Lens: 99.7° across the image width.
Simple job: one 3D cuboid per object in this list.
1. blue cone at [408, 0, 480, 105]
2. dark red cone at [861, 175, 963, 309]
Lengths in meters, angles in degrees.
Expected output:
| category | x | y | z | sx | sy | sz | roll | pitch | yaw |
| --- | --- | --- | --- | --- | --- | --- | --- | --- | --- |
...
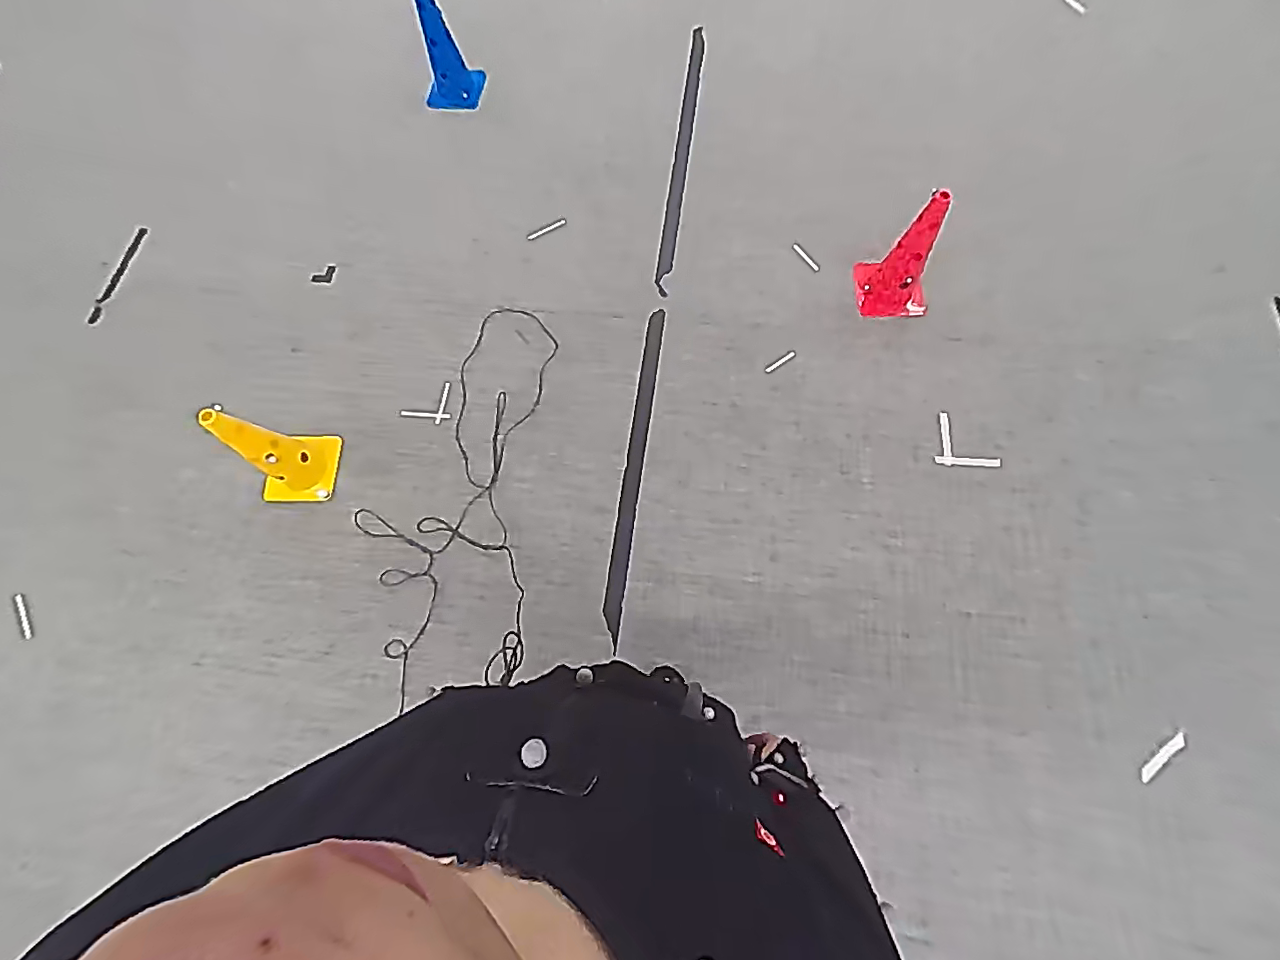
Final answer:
| category | x | y | z | sx | sy | sz | roll | pitch | yaw |
| --- | --- | --- | --- | --- | --- | --- | --- | --- | --- |
| blue cone | -0.710 | -1.529 | 1.869 | 0.192 | 0.380 | 0.193 | 7 | 72 | 6 |
| dark red cone | 0.763 | -0.653 | 1.468 | 0.201 | 0.394 | 0.202 | -1 | 71 | 4 |
